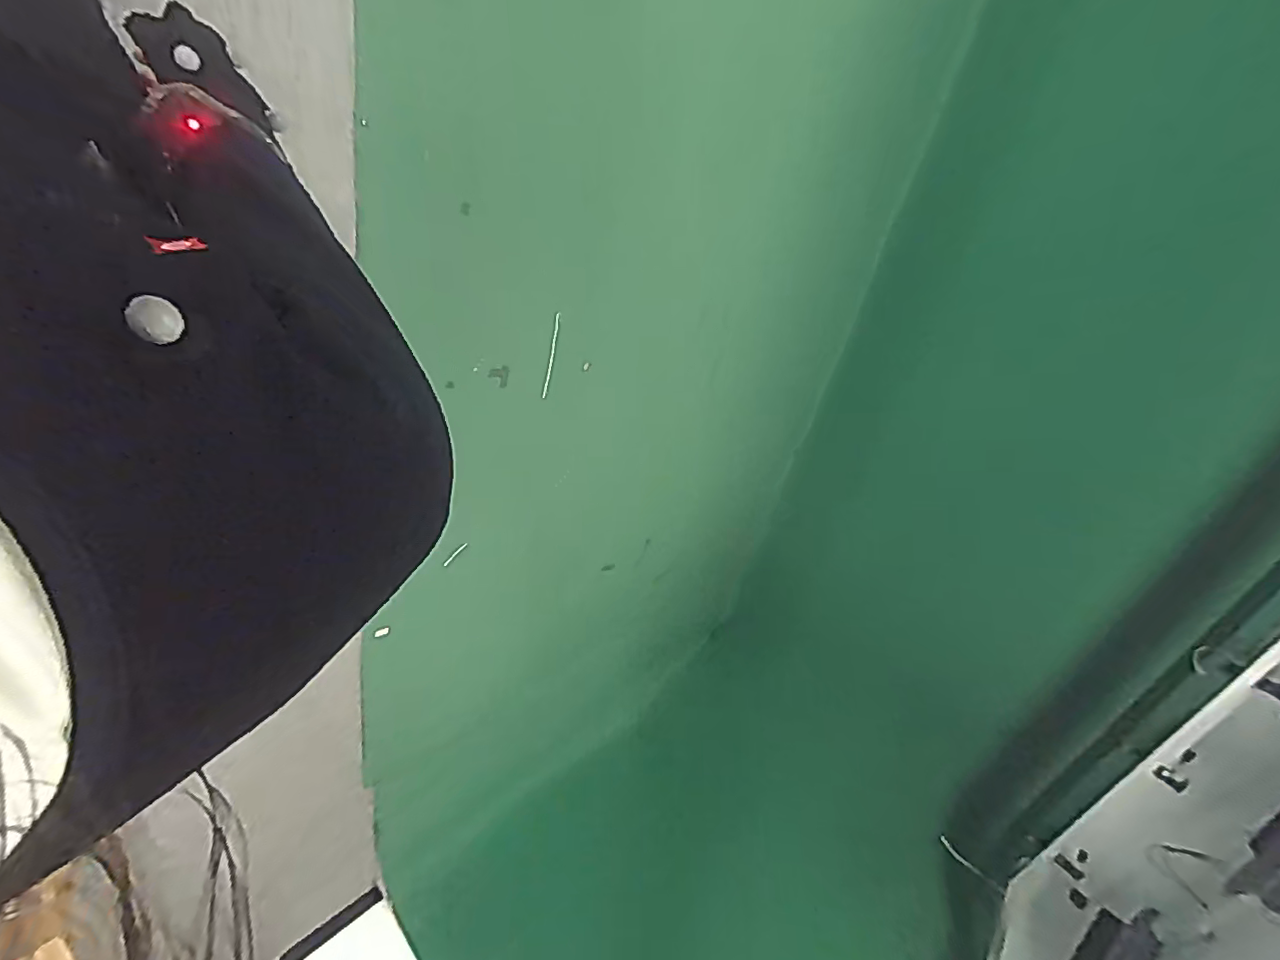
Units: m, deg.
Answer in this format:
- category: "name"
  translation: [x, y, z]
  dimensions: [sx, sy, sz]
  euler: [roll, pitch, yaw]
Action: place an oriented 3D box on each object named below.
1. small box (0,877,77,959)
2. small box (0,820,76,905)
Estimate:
- category: "small box"
  translation: [-1.493, 1.111, 1.294]
  dimensions: [0.168, 0.176, 0.179]
  euler: [-19, 132, -47]
- category: "small box"
  translation: [-1.598, 1.026, 1.384]
  dimensions: [0.179, 0.176, 0.168]
  euler: [-15, 130, -47]
